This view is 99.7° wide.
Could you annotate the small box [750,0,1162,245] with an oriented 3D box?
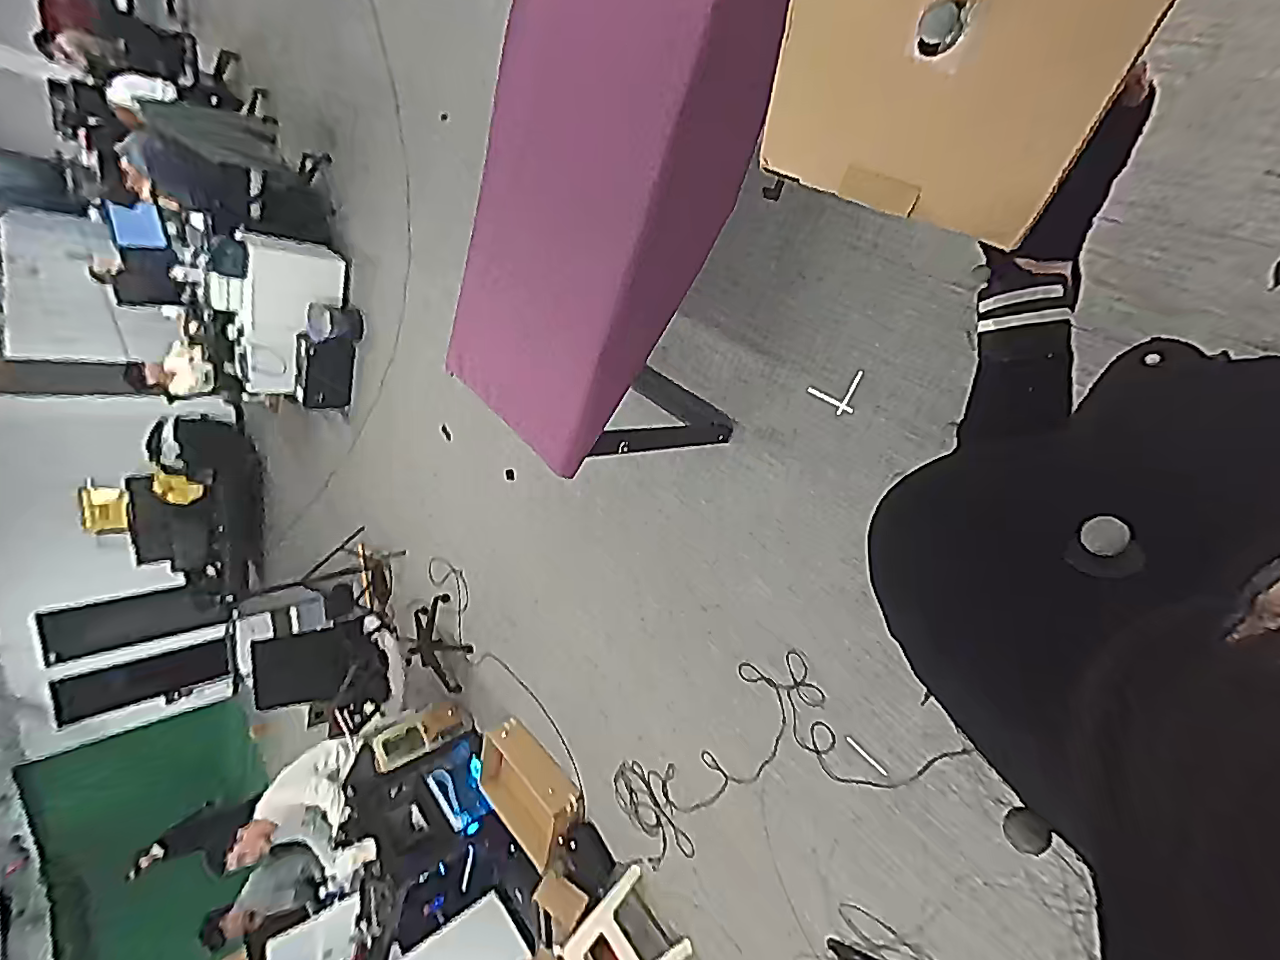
[{"bbox_3d":[0.183,-0.265,0.293,0.168,0.179,0.176,32,148,21],"label":"small box"}]
